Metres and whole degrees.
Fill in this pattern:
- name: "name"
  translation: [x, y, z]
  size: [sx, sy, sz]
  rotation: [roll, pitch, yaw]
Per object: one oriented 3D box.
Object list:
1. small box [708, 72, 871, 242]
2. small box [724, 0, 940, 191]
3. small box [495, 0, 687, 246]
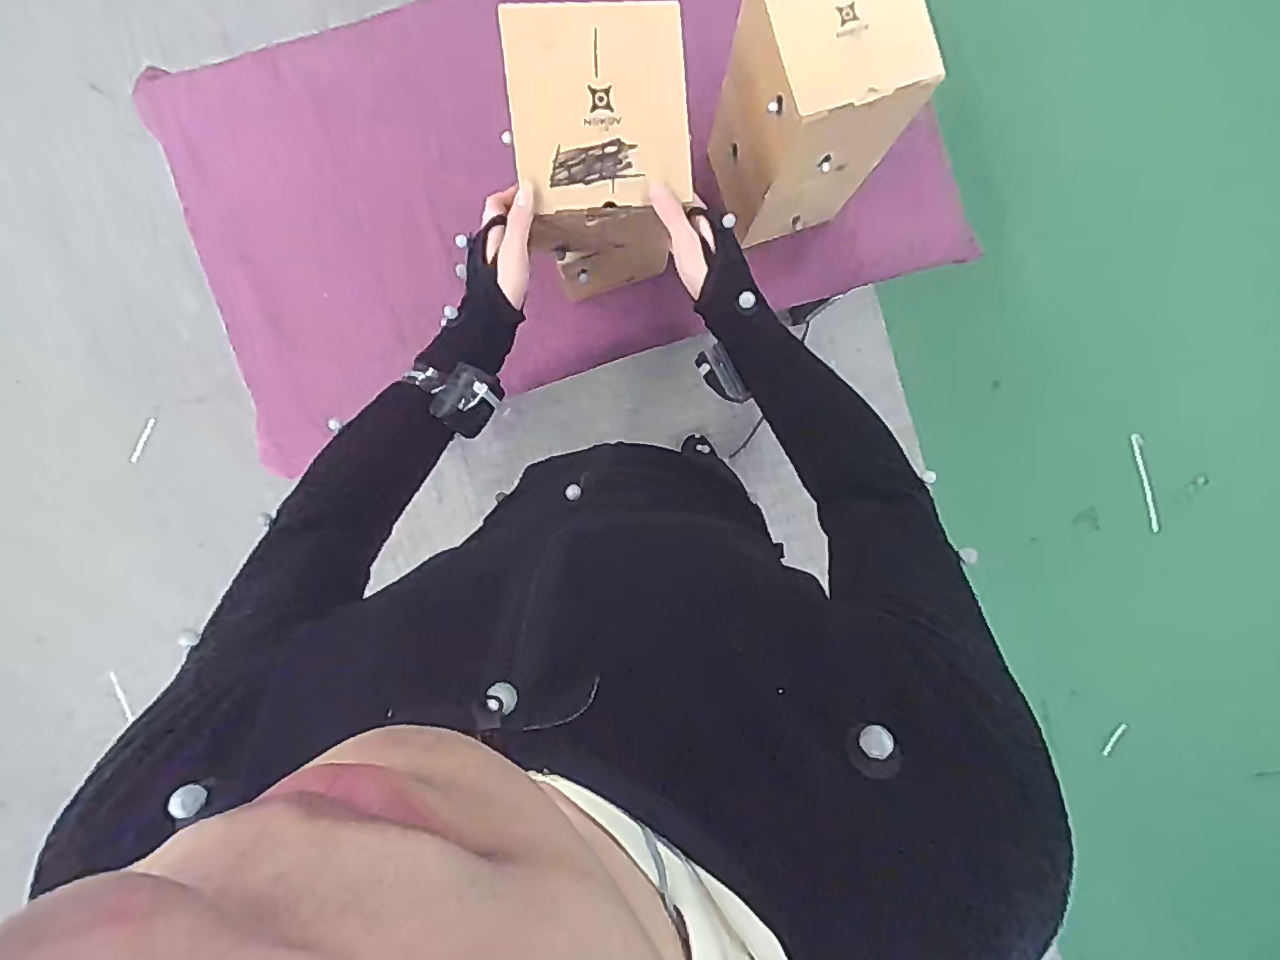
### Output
- name: "small box"
  translation: [0.210, -0.493, 0.809]
  size: [0.168, 0.176, 0.179]
  rotation: [-18, 92, 0]
- name: "small box"
  translation: [0.212, -0.489, 0.646]
  size: [0.168, 0.176, 0.179]
  rotation: [-18, 93, -1]
- name: "small box"
  translation: [-0.050, -0.356, 0.572]
  size: [0.168, 0.176, 0.179]
  rotation: [-6, 101, -7]
